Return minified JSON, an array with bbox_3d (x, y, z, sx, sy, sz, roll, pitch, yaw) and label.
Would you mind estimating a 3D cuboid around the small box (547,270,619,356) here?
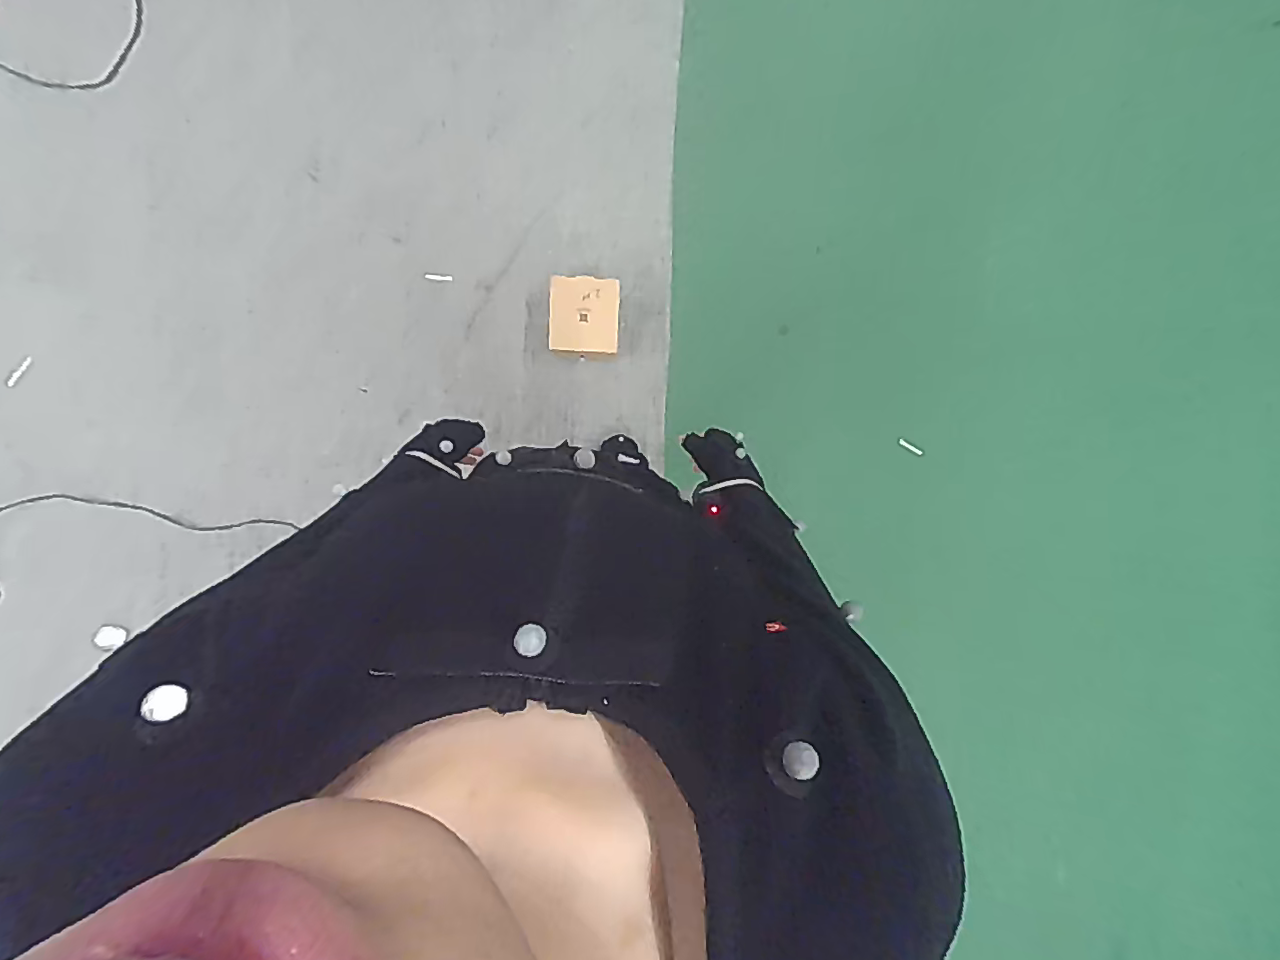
[{"bbox_3d":[-0.138,-0.408,1.353,0.168,0.176,0.179,2,95,-4],"label":"small box"}]
